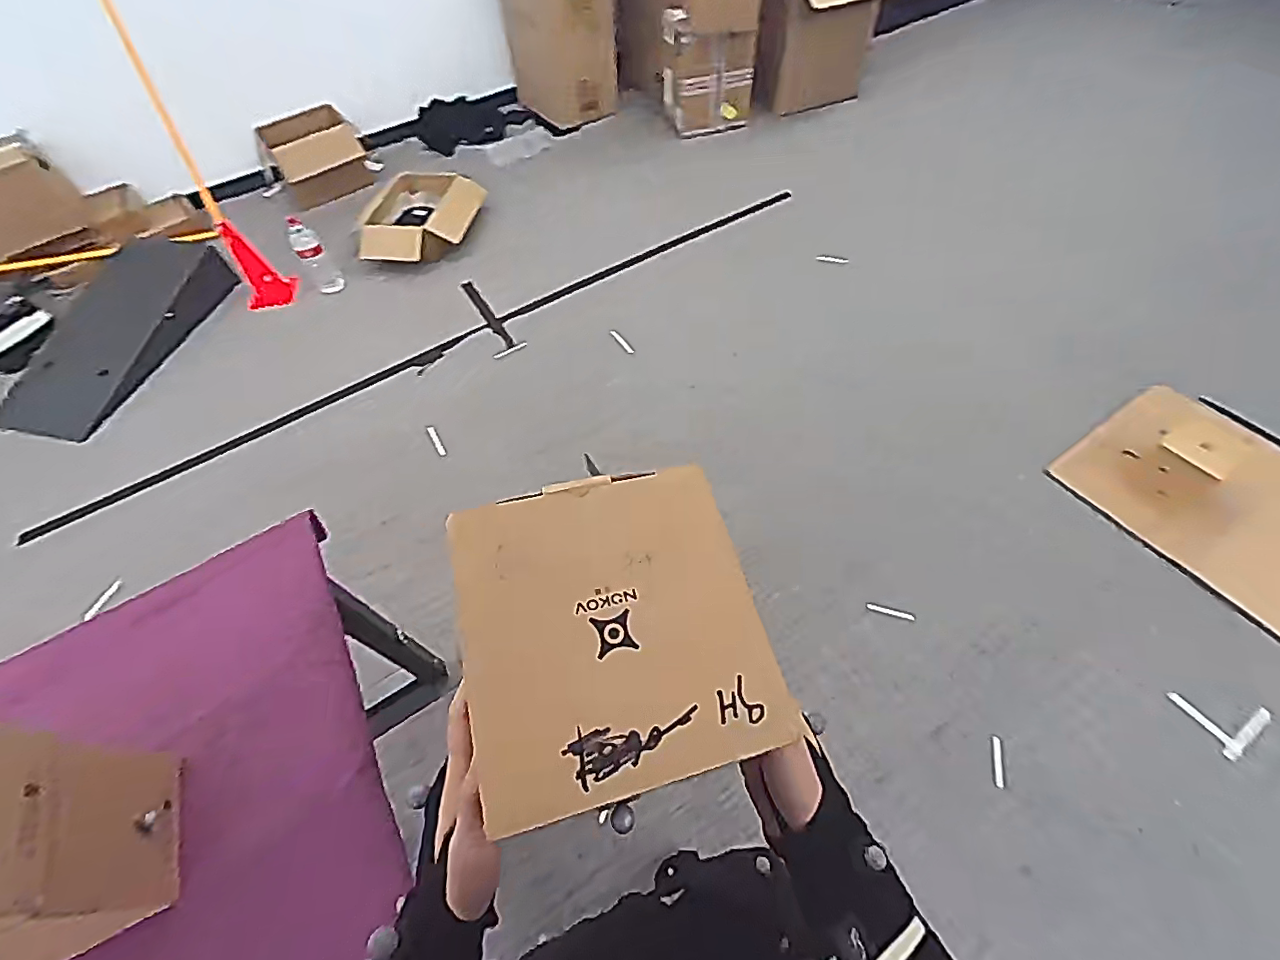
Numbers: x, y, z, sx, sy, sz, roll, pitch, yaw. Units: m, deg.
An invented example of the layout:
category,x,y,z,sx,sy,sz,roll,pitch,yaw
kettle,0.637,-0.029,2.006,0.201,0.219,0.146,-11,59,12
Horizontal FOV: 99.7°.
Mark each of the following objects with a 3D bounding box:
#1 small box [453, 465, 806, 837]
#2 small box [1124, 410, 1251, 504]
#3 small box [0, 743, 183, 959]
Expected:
category,x,y,z,sx,sy,sz,roll,pitch,yaw
small box,-0.020,0.117,0.370,0.168,0.176,0.179,-12,62,-11
small box,1.567,-0.062,1.563,0.179,0.176,0.168,-33,60,-16
small box,-0.637,0.409,0.569,0.179,0.176,0.168,-25,59,-11
